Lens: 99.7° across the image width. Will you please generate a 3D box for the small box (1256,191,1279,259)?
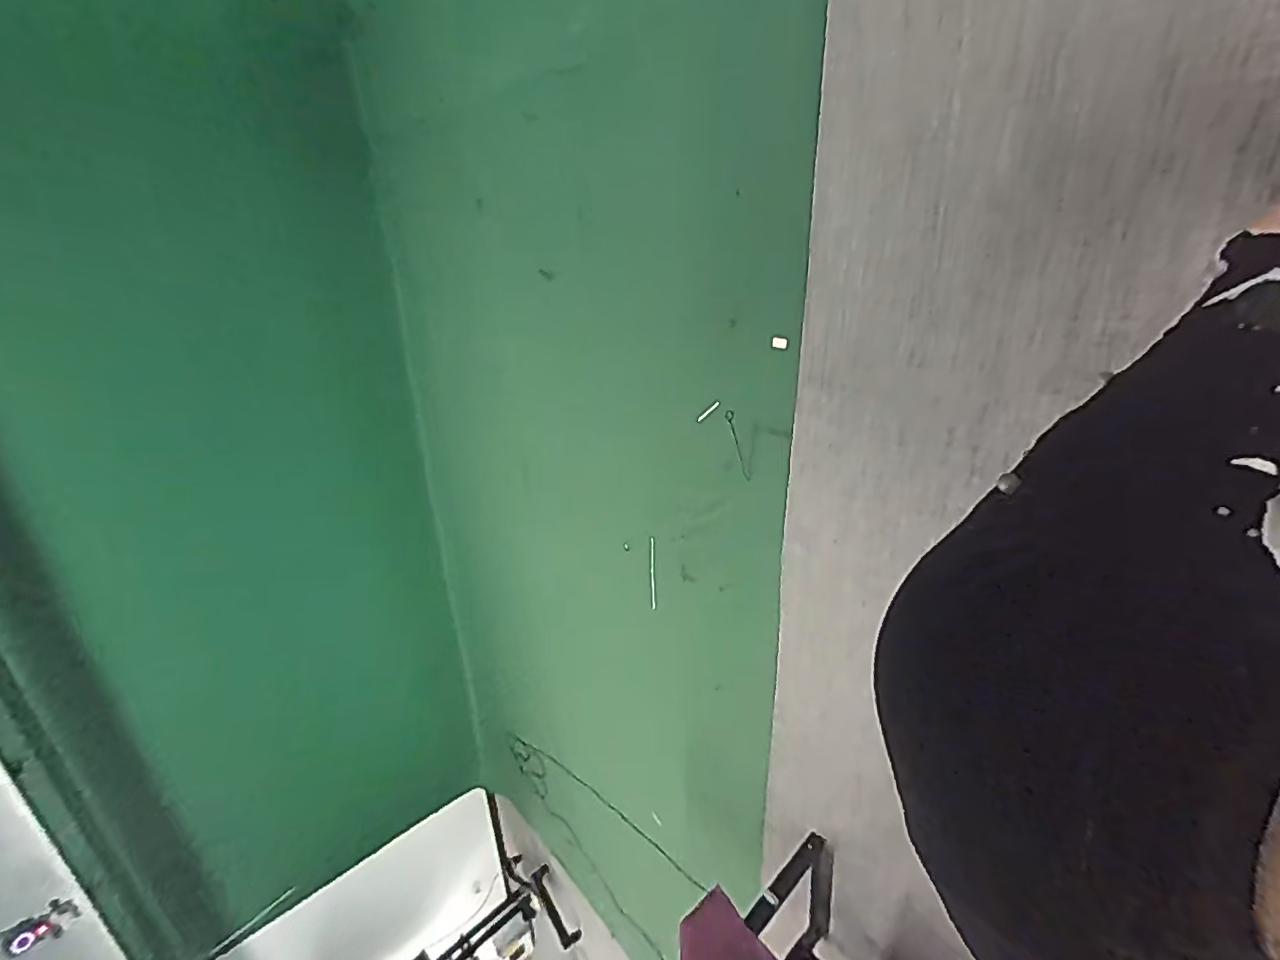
[{"bbox_3d":[0.654,-0.264,0.417,0.179,0.176,0.168,31,142,33],"label":"small box"}]
